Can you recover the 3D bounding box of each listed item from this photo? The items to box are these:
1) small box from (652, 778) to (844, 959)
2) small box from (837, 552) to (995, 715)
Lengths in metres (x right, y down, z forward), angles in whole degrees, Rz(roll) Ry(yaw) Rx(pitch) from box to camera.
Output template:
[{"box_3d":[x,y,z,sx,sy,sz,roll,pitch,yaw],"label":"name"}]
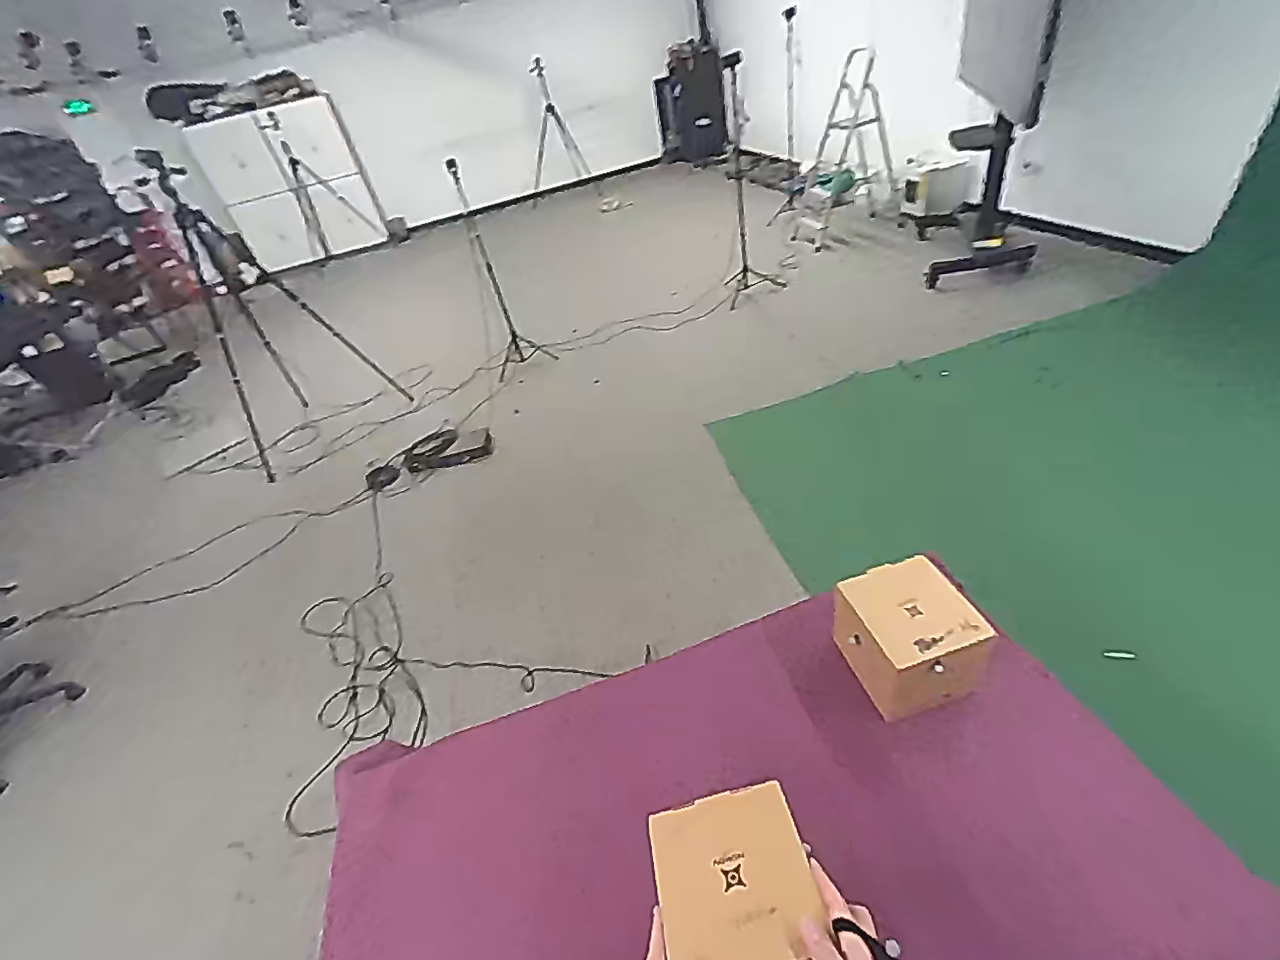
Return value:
[{"box_3d":[0.118,0.484,0.610,0.168,0.176,0.179,-15,27,1],"label":"small box"},{"box_3d":[0.448,0.259,0.913,0.168,0.176,0.179,-18,39,-3],"label":"small box"}]
